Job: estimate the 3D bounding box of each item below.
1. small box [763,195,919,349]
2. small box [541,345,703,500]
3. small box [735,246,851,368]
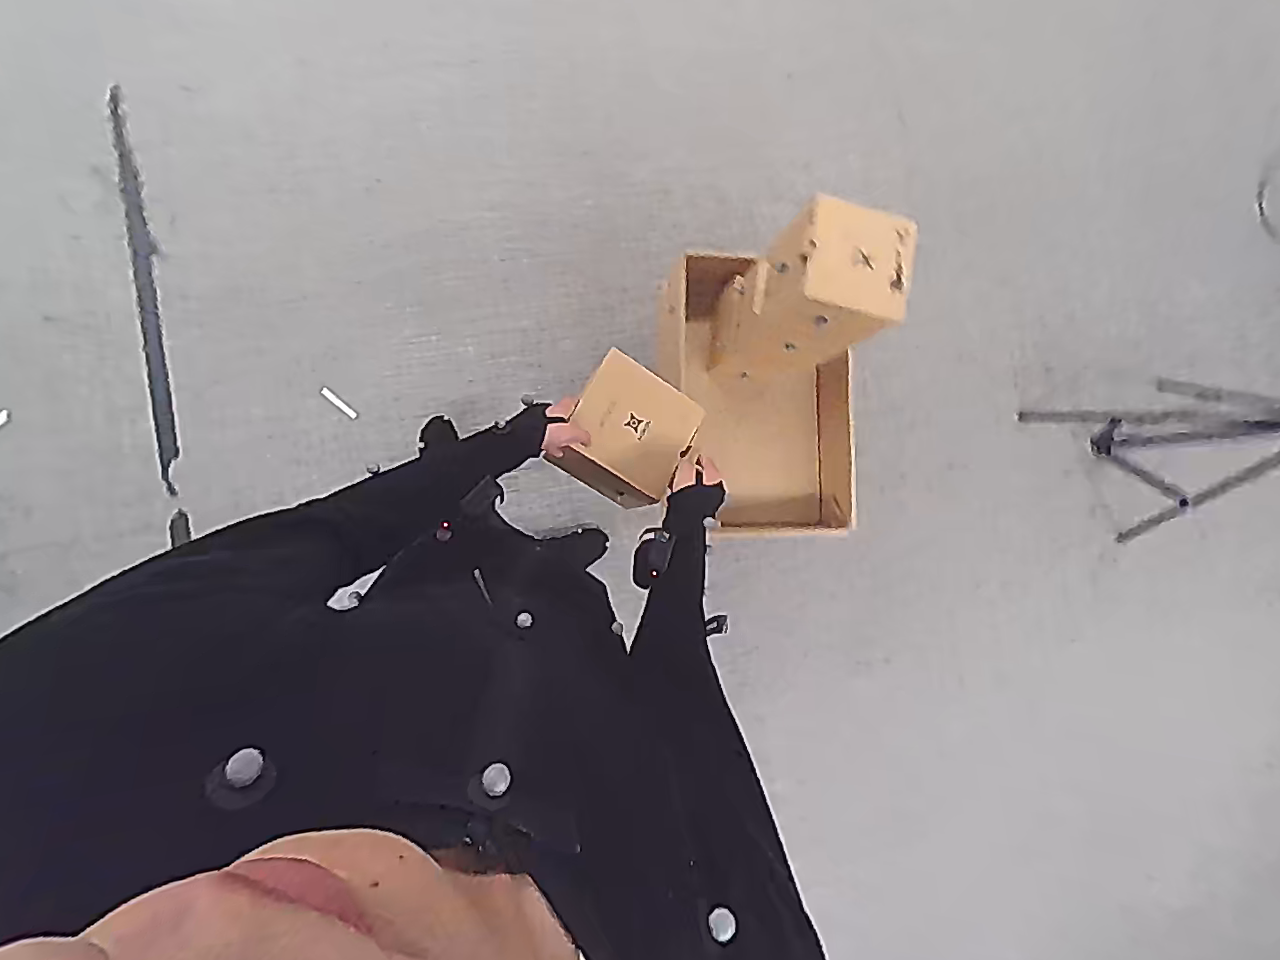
[{"bbox_3d":[0.325,-0.334,0.905,0.179,0.176,0.168,12,86,-9],"label":"small box"},{"bbox_3d":[-0.037,-0.078,0.857,0.179,0.176,0.168,31,75,-12],"label":"small box"},{"bbox_3d":[0.302,-0.330,1.068,0.179,0.176,0.168,8,87,-10],"label":"small box"}]
